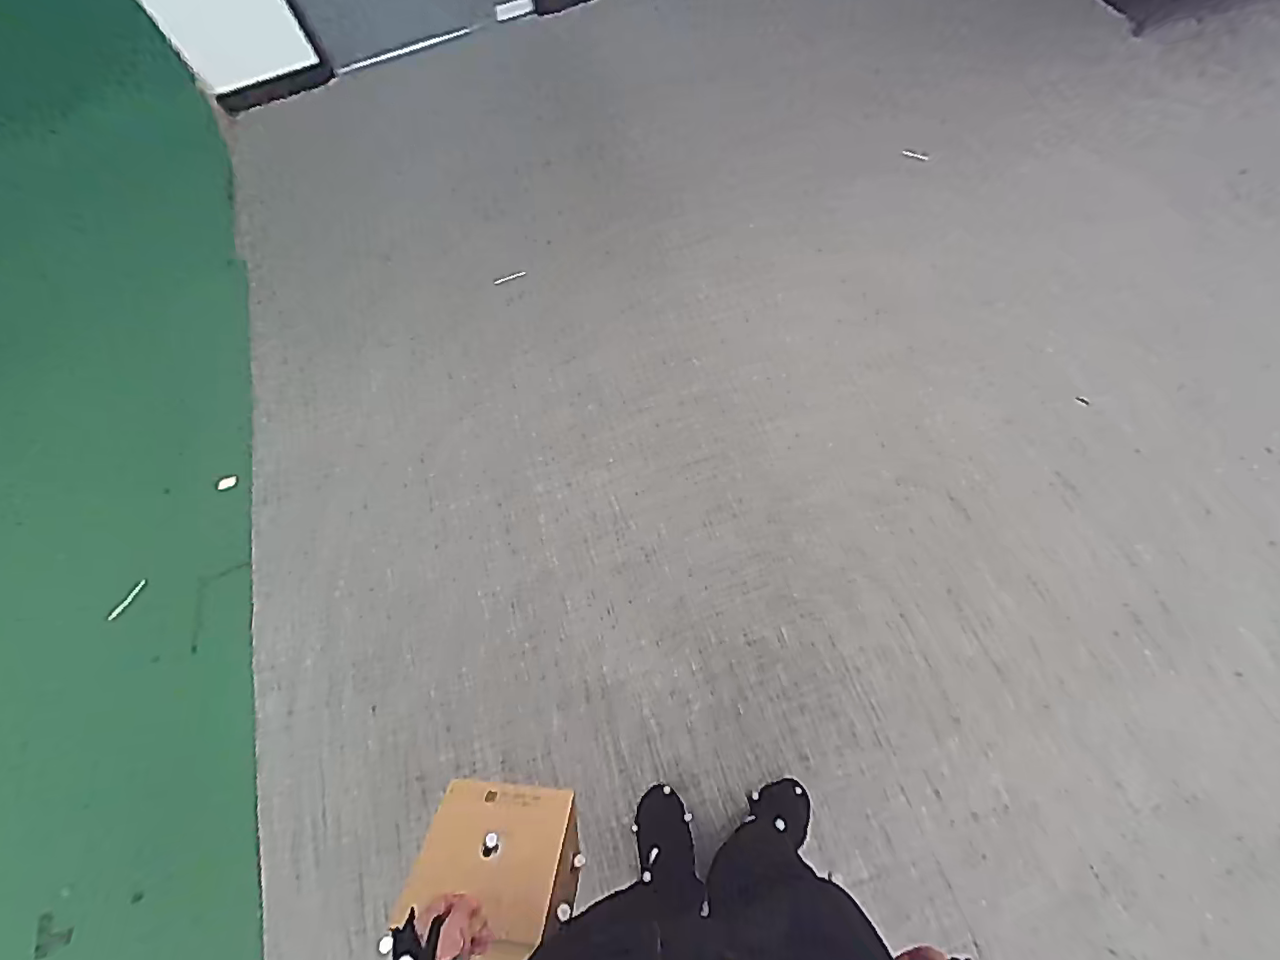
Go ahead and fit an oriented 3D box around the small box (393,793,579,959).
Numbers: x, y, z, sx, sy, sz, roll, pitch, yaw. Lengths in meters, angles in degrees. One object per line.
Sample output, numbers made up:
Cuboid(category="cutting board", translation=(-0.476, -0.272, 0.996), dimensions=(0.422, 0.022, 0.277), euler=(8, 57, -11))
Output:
Cuboid(category="small box", translation=(-0.171, 0.516, 0.661), dimensions=(0.168, 0.179, 0.176), euler=(2, 25, 4))
